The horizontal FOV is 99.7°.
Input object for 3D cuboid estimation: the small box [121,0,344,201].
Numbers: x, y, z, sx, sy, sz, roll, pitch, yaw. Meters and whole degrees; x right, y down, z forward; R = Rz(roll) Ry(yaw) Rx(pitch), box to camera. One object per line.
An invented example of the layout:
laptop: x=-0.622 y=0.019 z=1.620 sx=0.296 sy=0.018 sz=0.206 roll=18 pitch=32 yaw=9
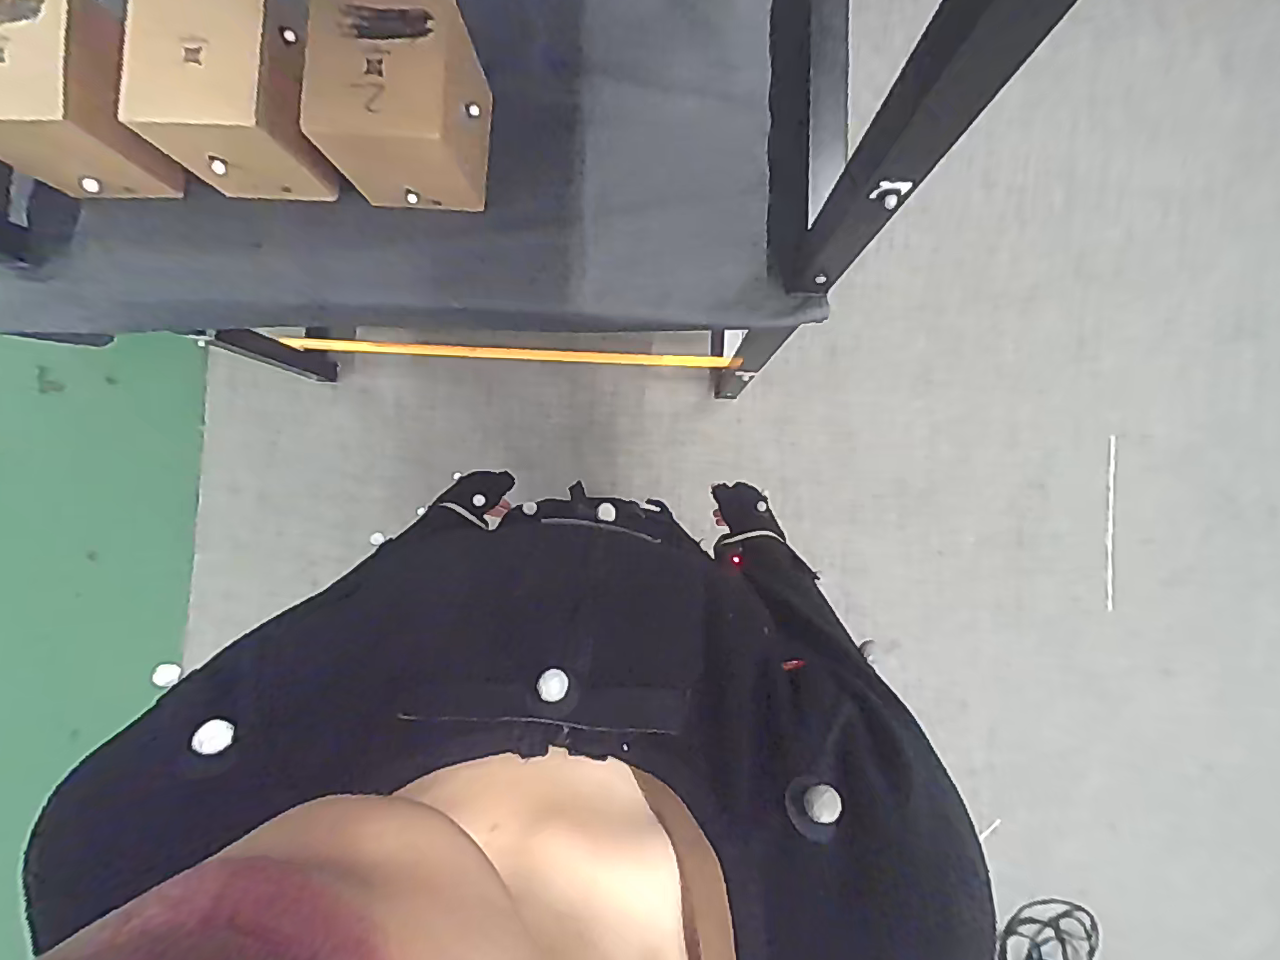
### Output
small box: x=-0.515 y=-0.492 z=0.708 sx=0.168 sy=0.176 sz=0.179 roll=3 pitch=87 yaw=1

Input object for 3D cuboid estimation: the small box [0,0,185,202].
small box: x=-0.742 y=-0.497 z=0.710 sx=0.168 sy=0.176 sz=0.179 roll=0 pitch=88 yaw=1
